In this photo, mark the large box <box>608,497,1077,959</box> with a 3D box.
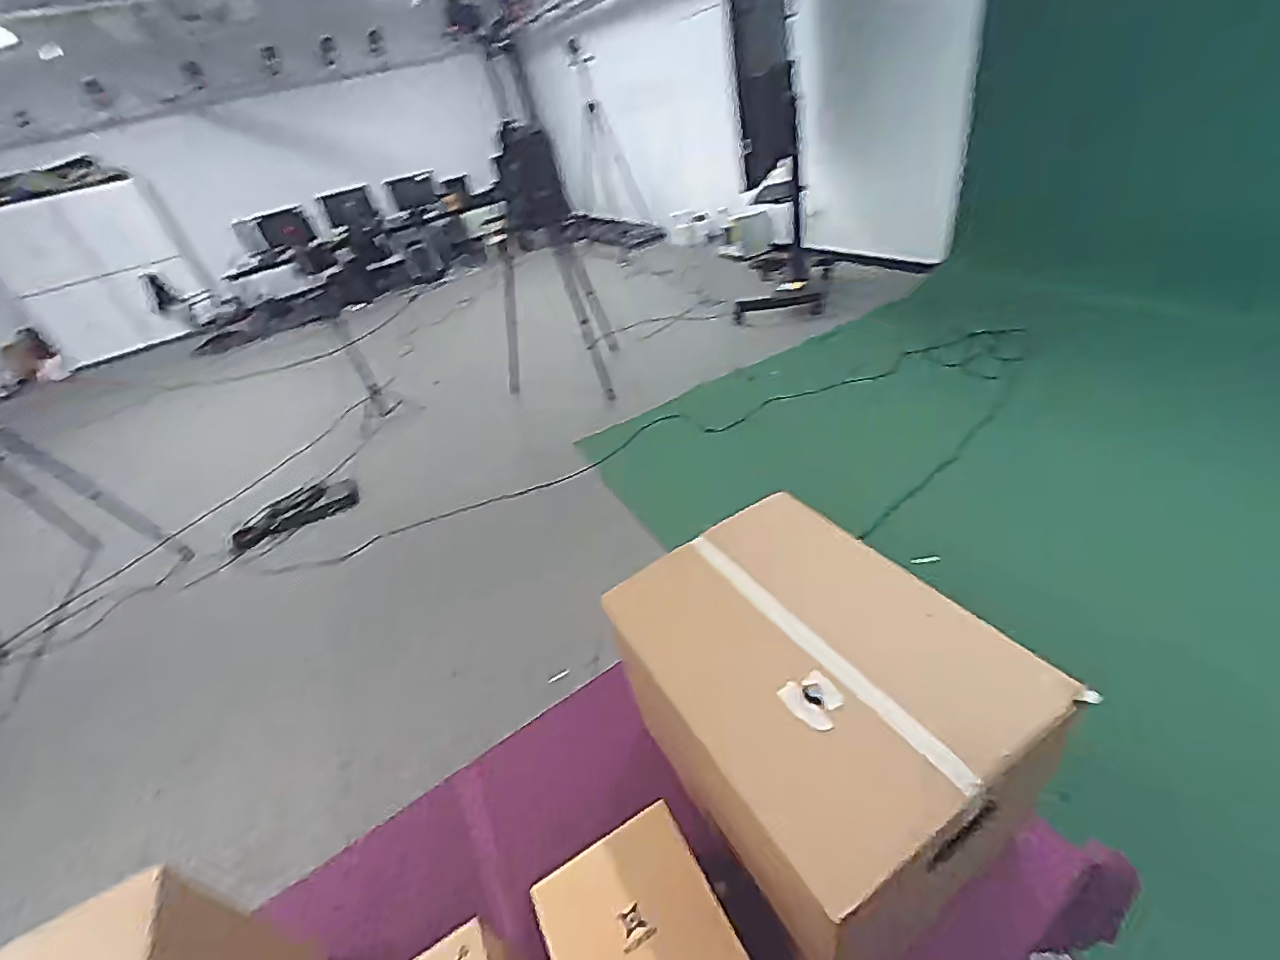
[{"bbox_3d":[0.207,0.290,0.690,0.320,0.320,0.408,-27,38,-18],"label":"large box"}]
